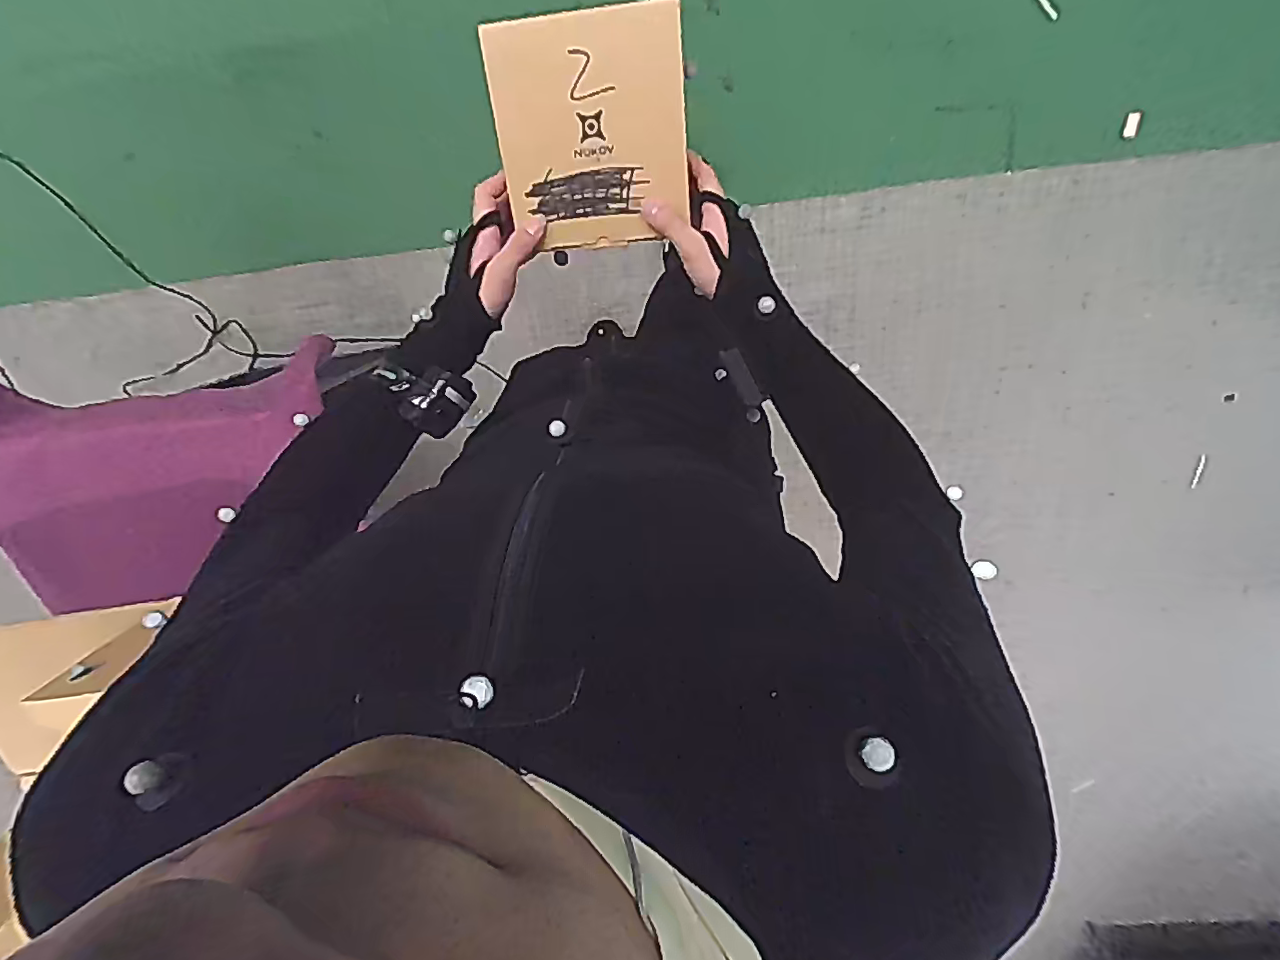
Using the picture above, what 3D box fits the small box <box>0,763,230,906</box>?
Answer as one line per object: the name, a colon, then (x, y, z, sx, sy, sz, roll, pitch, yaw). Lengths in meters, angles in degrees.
small box: (-0.798, 0.534, 0.850, 0.179, 0.176, 0.168, -9, 109, 5)
